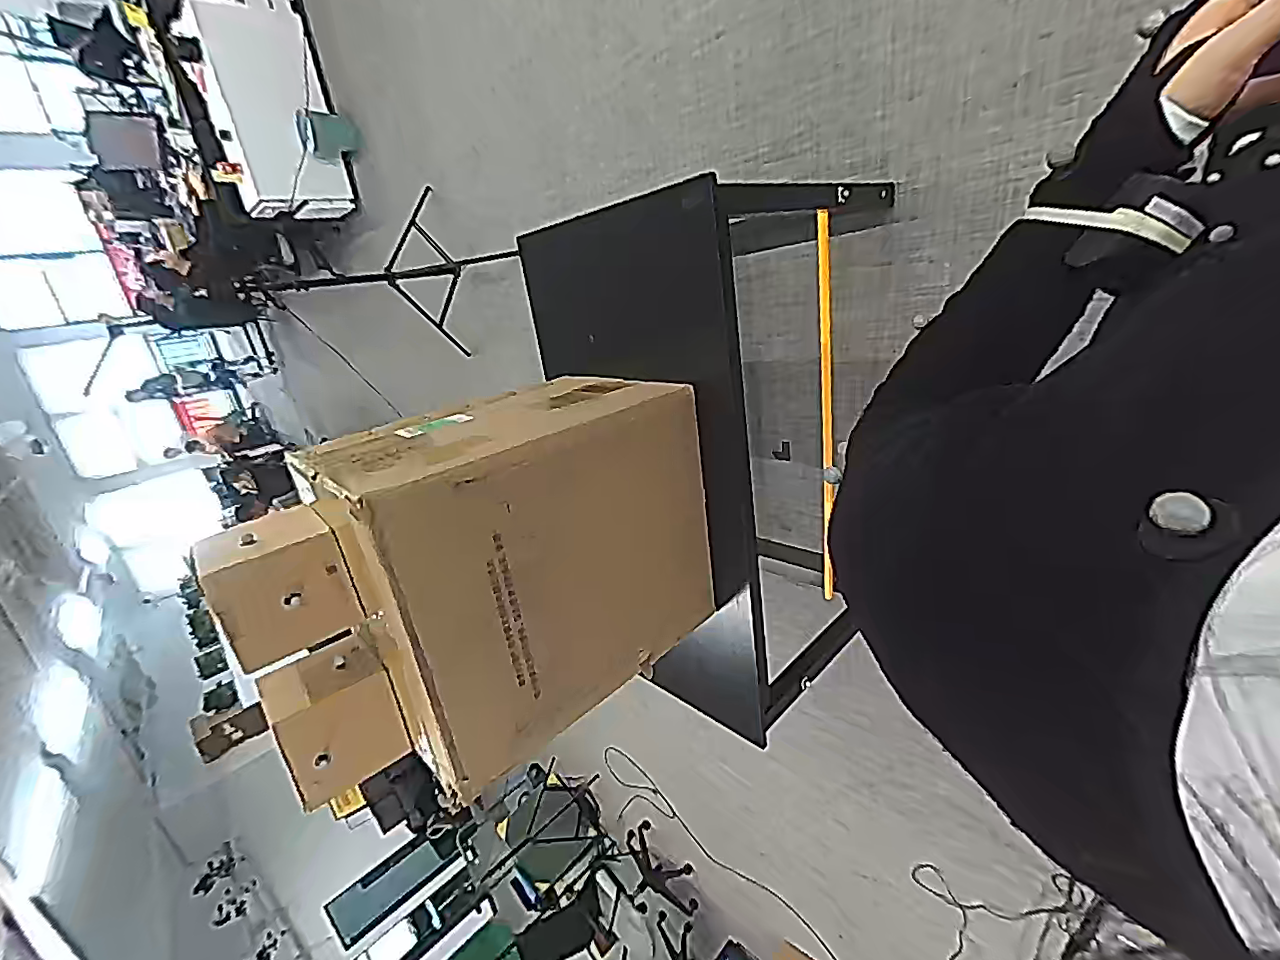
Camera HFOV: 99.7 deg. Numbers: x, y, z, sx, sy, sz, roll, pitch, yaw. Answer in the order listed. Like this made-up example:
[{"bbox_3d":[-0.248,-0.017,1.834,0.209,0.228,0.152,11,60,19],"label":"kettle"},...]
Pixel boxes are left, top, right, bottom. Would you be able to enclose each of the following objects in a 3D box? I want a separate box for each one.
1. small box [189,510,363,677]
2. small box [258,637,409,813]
[{"bbox_3d":[-0.554,0.161,0.837,0.179,0.176,0.168,15,121,46],"label":"small box"},{"bbox_3d":[-0.514,0.403,0.919,0.168,0.176,0.179,13,118,47],"label":"small box"}]
